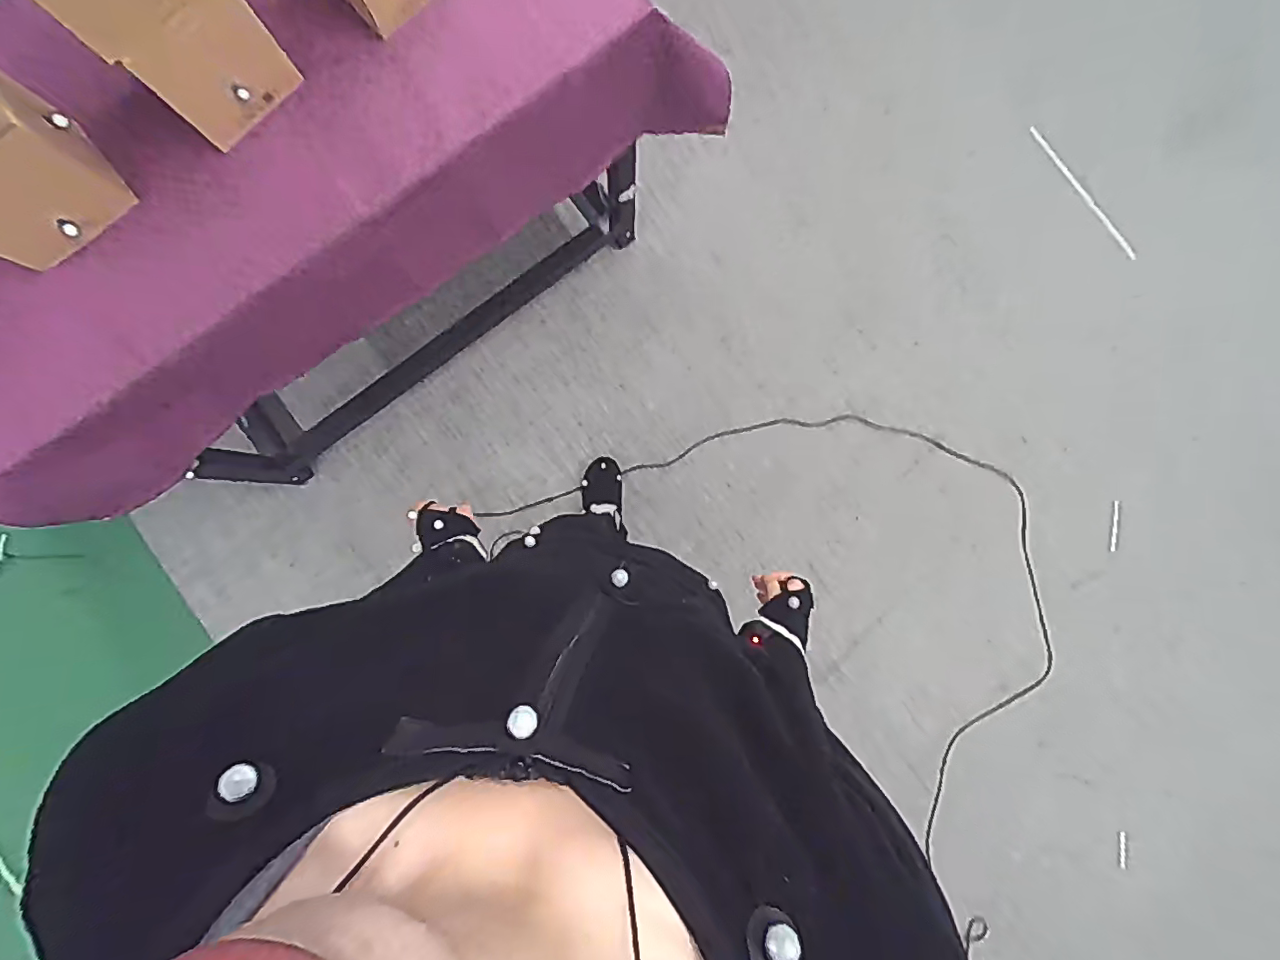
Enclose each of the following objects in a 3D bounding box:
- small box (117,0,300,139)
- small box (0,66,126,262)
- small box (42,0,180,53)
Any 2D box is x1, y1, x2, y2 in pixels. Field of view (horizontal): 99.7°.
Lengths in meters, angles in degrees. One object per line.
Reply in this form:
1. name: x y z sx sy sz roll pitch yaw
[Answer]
1. small box: -0.621 -0.620 0.733 0.168 0.176 0.179 -44 89 -2
2. small box: -0.854 -0.433 0.721 0.179 0.176 0.168 -39 88 -2
3. small box: -0.619 -0.622 0.569 0.179 0.176 0.168 -42 88 -2
